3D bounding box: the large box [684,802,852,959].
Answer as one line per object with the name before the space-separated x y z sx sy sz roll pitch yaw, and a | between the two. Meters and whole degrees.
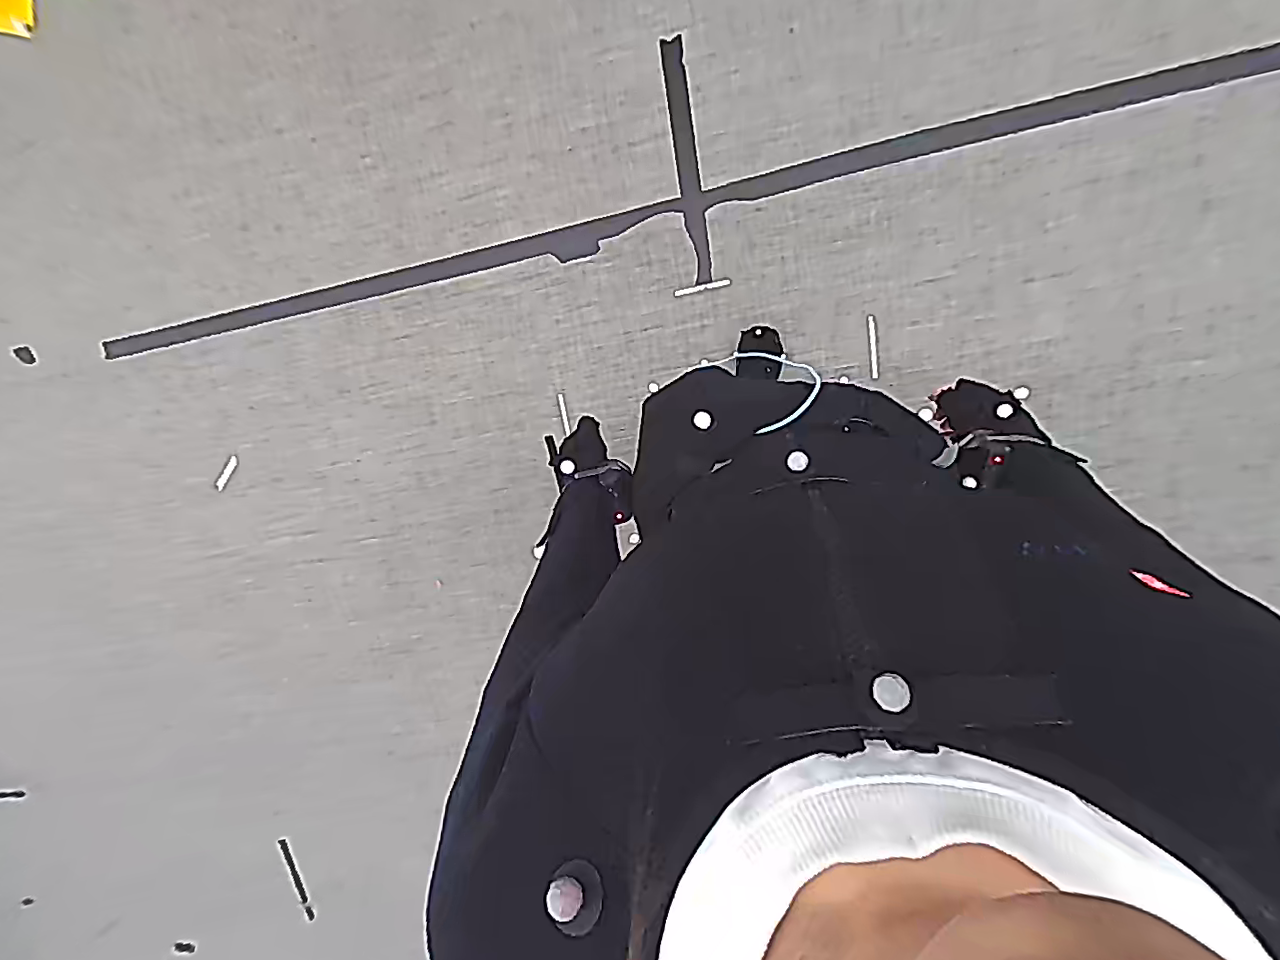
large box | 0.369 1.238 1.620 0.408 0.320 0.320 -16 104 10
